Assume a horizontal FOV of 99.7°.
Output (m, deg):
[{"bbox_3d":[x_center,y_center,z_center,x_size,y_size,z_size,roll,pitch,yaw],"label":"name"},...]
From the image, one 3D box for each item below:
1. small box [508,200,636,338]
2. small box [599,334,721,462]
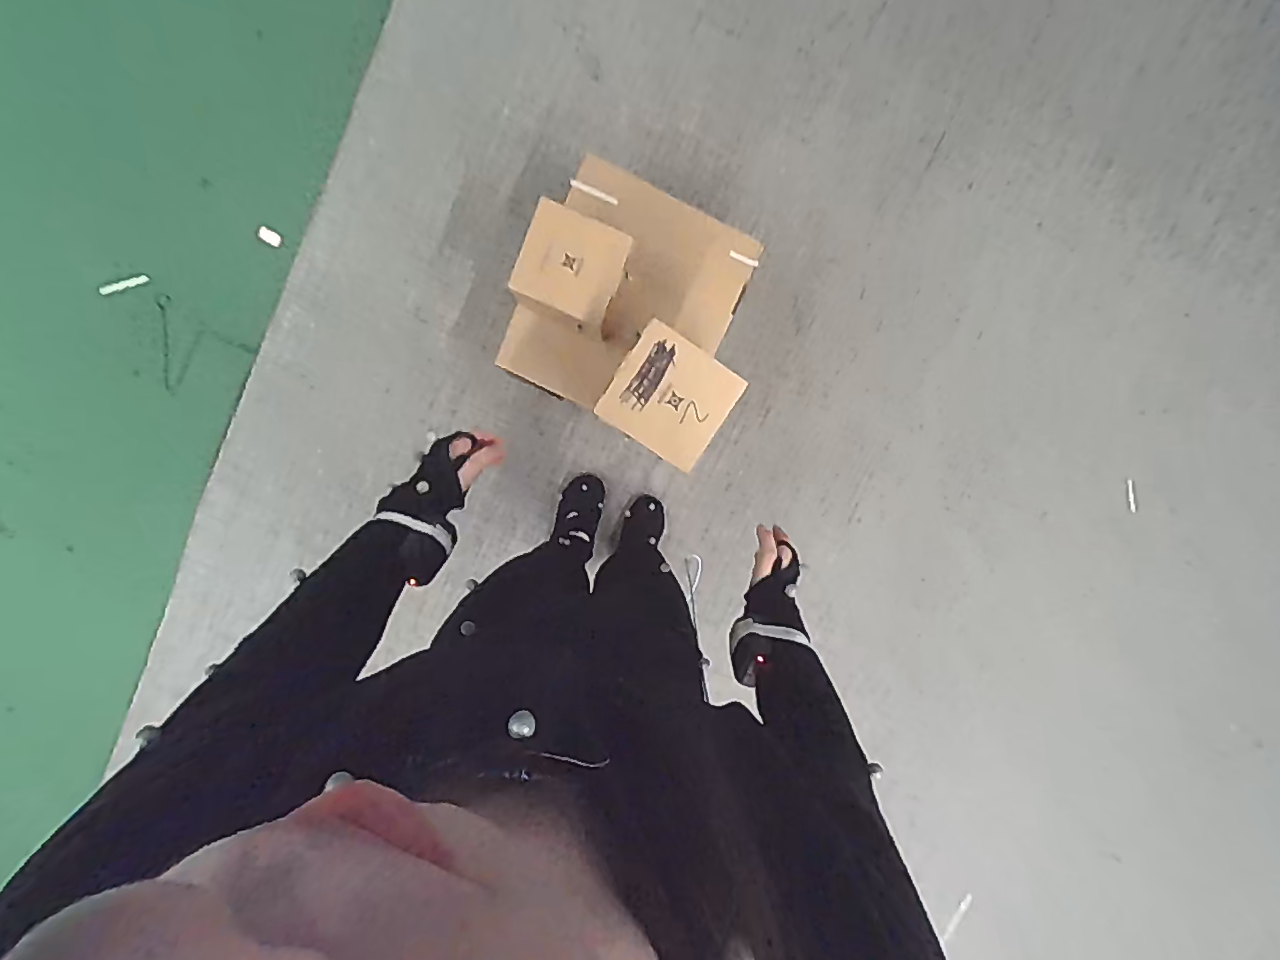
[{"bbox_3d":[-0.120,-0.378,1.009,0.179,0.176,0.168,23,94,-5],"label":"small box"},{"bbox_3d":[0.030,-0.154,1.043,0.168,0.176,0.179,29,94,-7],"label":"small box"}]
